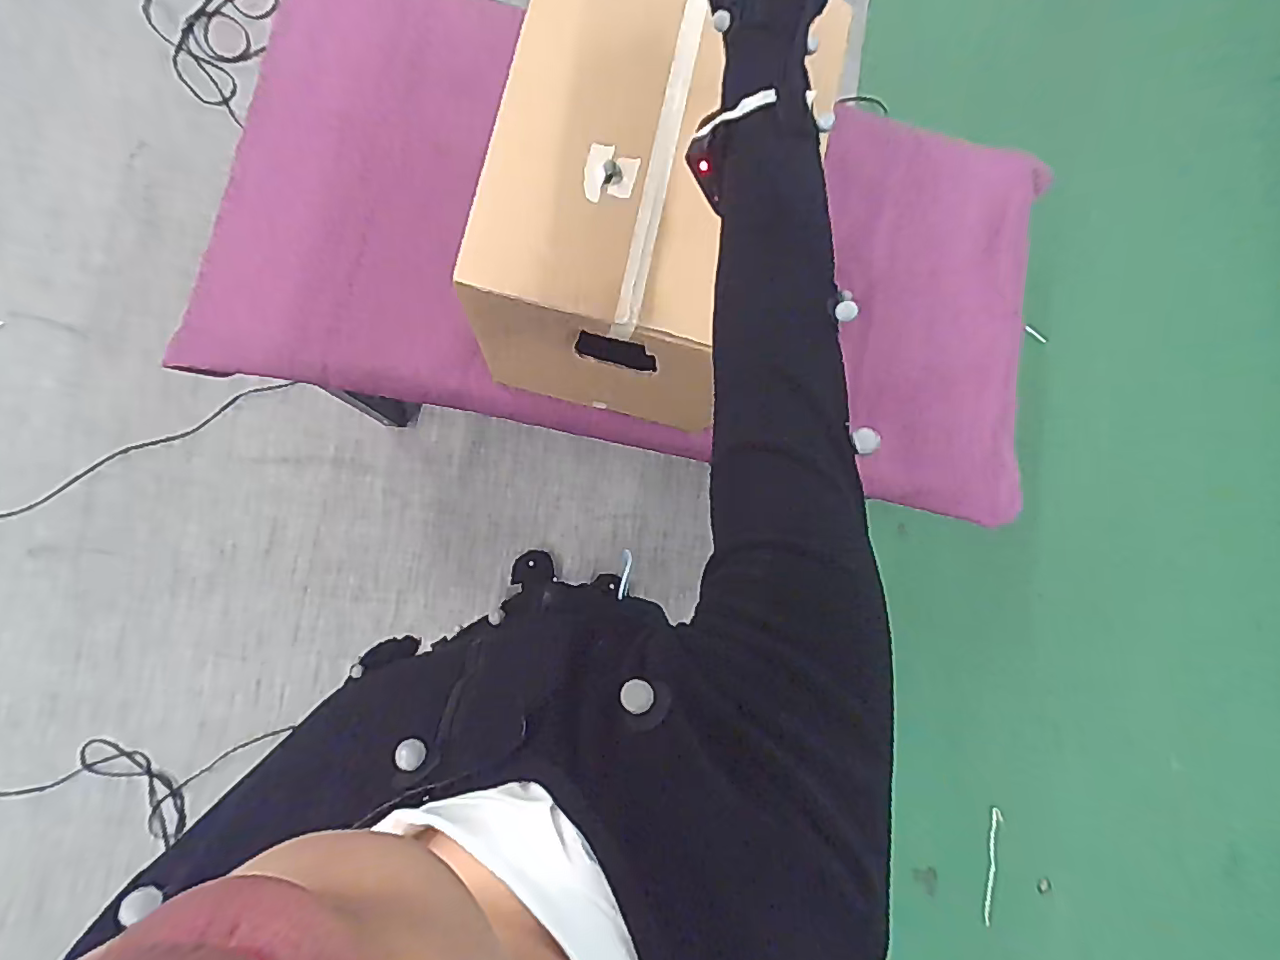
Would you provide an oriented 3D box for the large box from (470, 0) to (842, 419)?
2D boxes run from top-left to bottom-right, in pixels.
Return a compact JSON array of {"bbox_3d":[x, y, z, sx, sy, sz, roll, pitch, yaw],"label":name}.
[{"bbox_3d":[0.007,-0.328,0.678,0.320,0.320,0.408,13,83,-7],"label":"large box"}]
